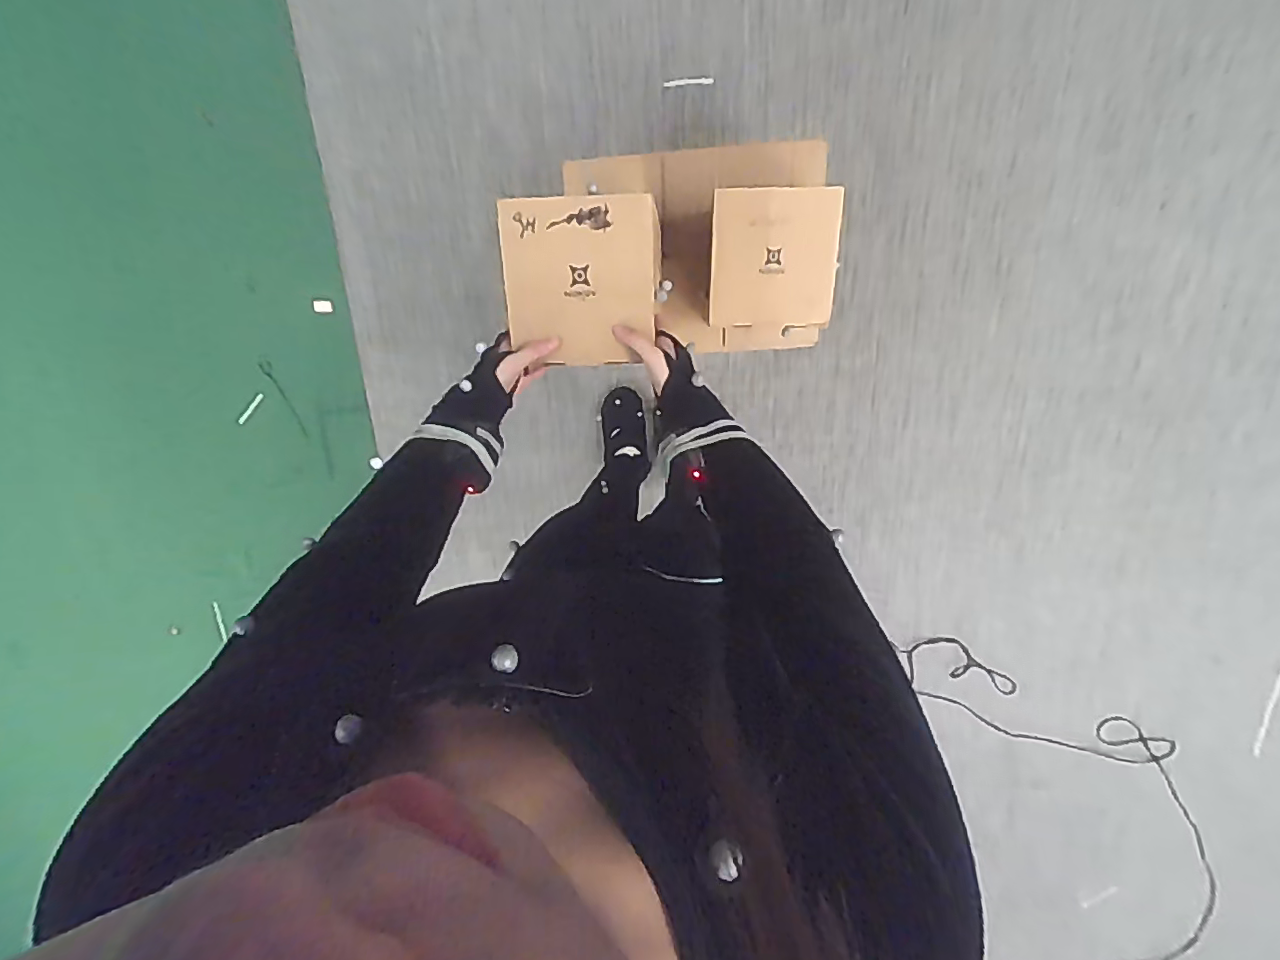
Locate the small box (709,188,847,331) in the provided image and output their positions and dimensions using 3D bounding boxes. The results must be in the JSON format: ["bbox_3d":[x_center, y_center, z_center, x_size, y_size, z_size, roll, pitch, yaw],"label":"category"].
[{"bbox_3d":[0.187,-0.314,0.788,0.168,0.176,0.179,2,107,5],"label":"small box"}]

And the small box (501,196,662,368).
[{"bbox_3d":[-0.058,-0.239,0.662,0.168,0.176,0.179,0,110,3],"label":"small box"}]
